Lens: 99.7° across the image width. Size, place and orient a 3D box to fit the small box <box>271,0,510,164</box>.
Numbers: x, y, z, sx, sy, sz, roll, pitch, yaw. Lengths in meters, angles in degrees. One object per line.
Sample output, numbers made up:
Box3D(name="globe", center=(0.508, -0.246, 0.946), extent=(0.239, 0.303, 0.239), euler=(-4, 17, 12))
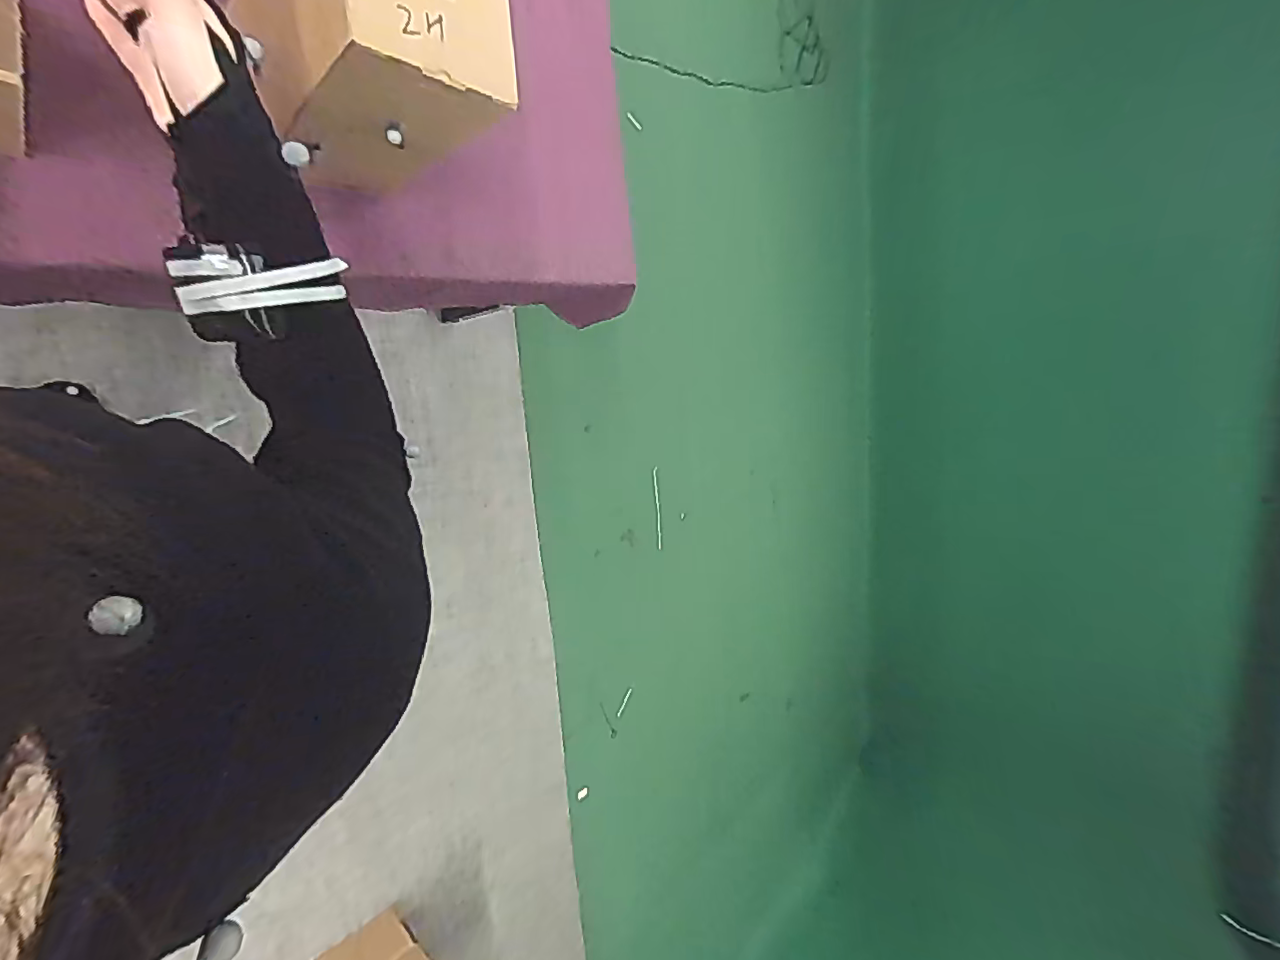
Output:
Box3D(name="small box", center=(-0.254, -0.457, 0.544), extent=(0.168, 0.176, 0.179), euler=(-13, 103, -47))

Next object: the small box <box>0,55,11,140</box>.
Box3D(name="small box", center=(-0.607, -0.384, 0.398), extent=(0.168, 0.176, 0.179), euler=(-17, 107, -48))
